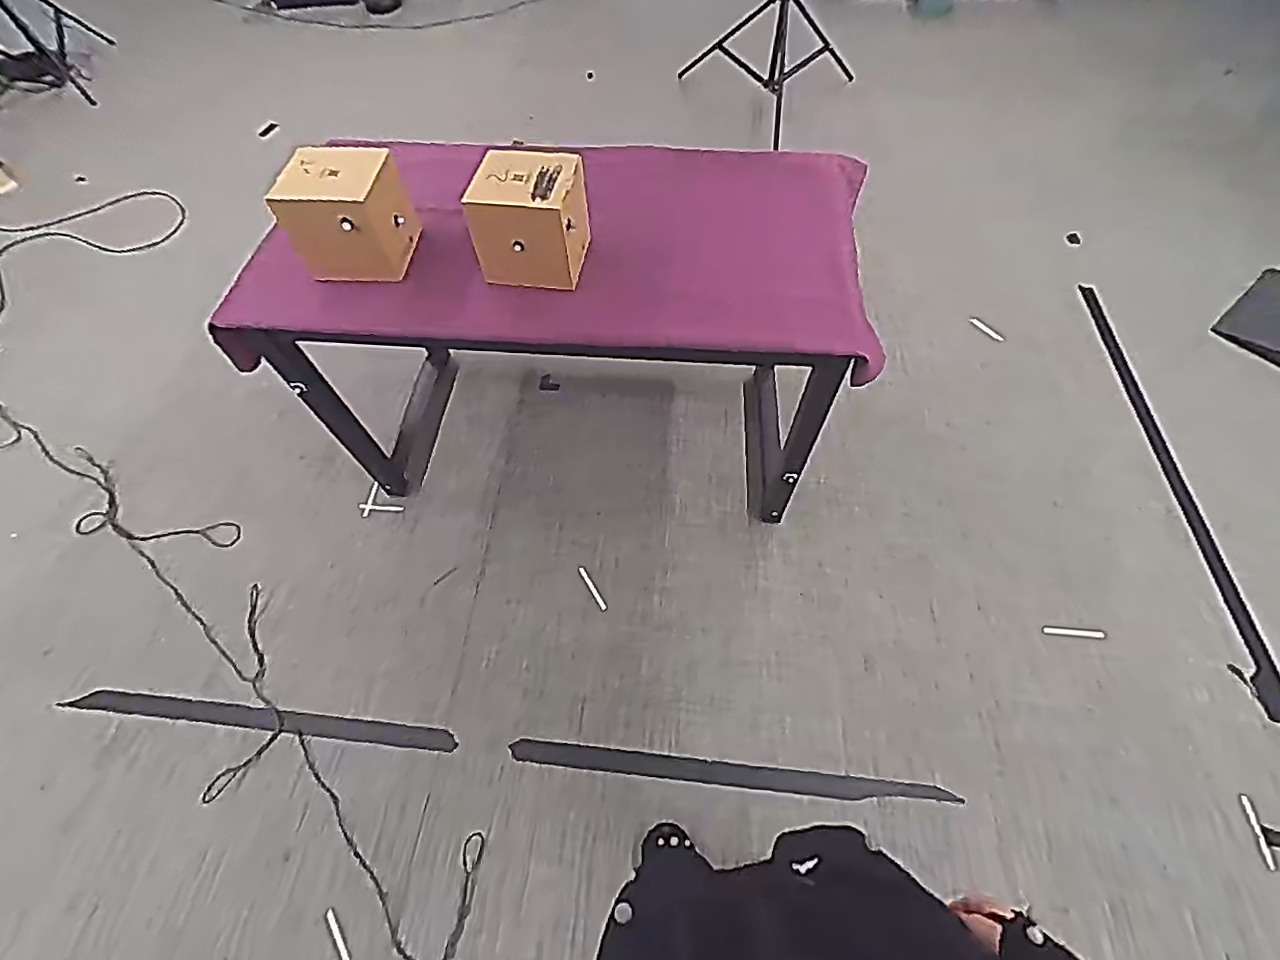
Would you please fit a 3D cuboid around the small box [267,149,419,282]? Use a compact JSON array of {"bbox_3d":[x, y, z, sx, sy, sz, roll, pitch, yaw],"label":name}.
[{"bbox_3d":[-0.545,-0.496,1.026,0.179,0.176,0.168,1,58,2],"label":"small box"}]
